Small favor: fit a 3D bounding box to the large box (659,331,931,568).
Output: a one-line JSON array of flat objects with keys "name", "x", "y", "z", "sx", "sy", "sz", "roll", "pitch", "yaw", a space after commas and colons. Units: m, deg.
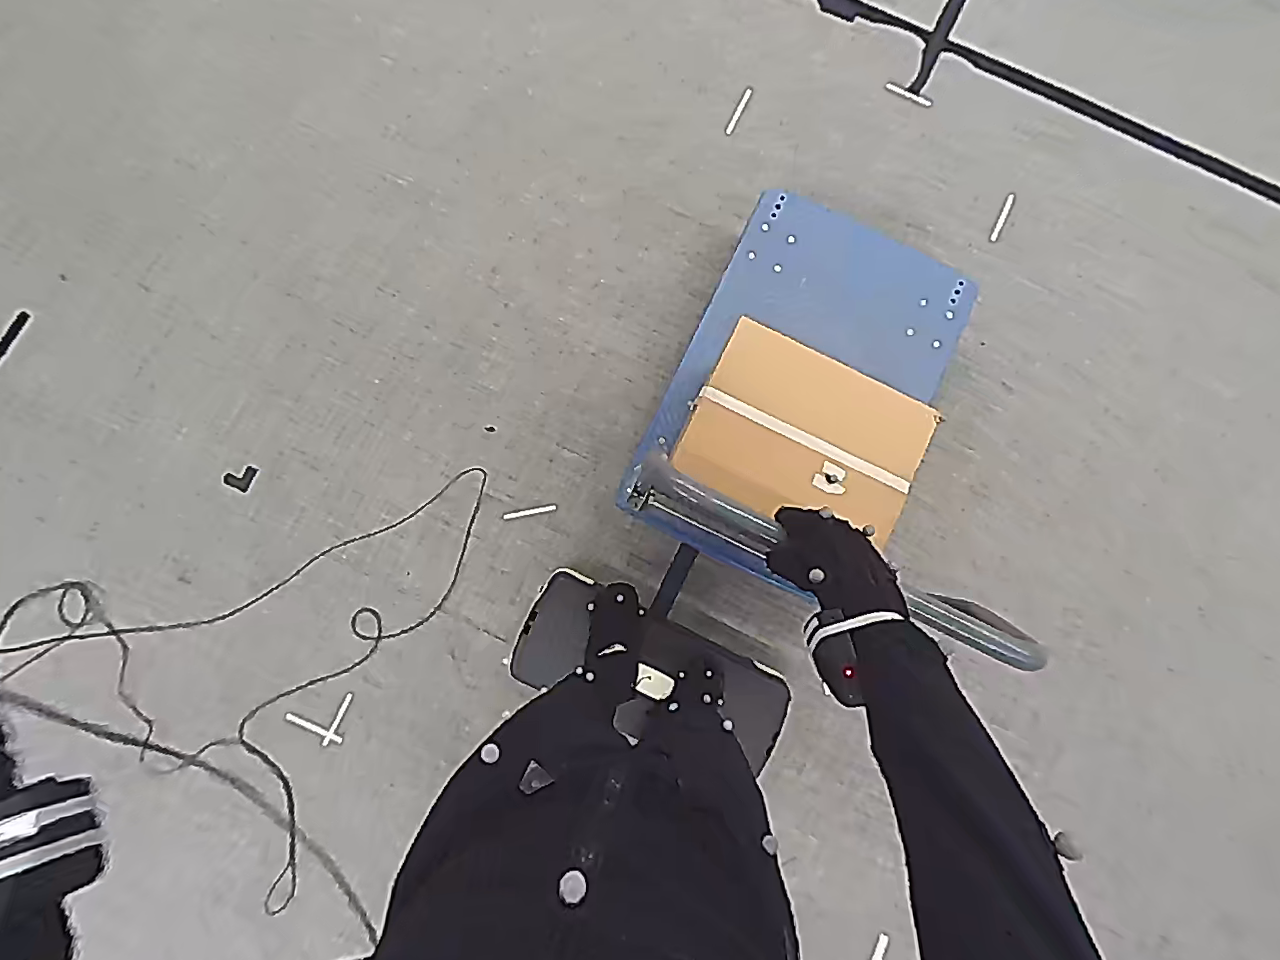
[{"name": "large box", "x": 0.290, "y": -0.046, "z": 1.133, "sx": 0.408, "sy": 0.320, "sz": 0.320, "roll": 26, "pitch": 85, "yaw": 0}]
